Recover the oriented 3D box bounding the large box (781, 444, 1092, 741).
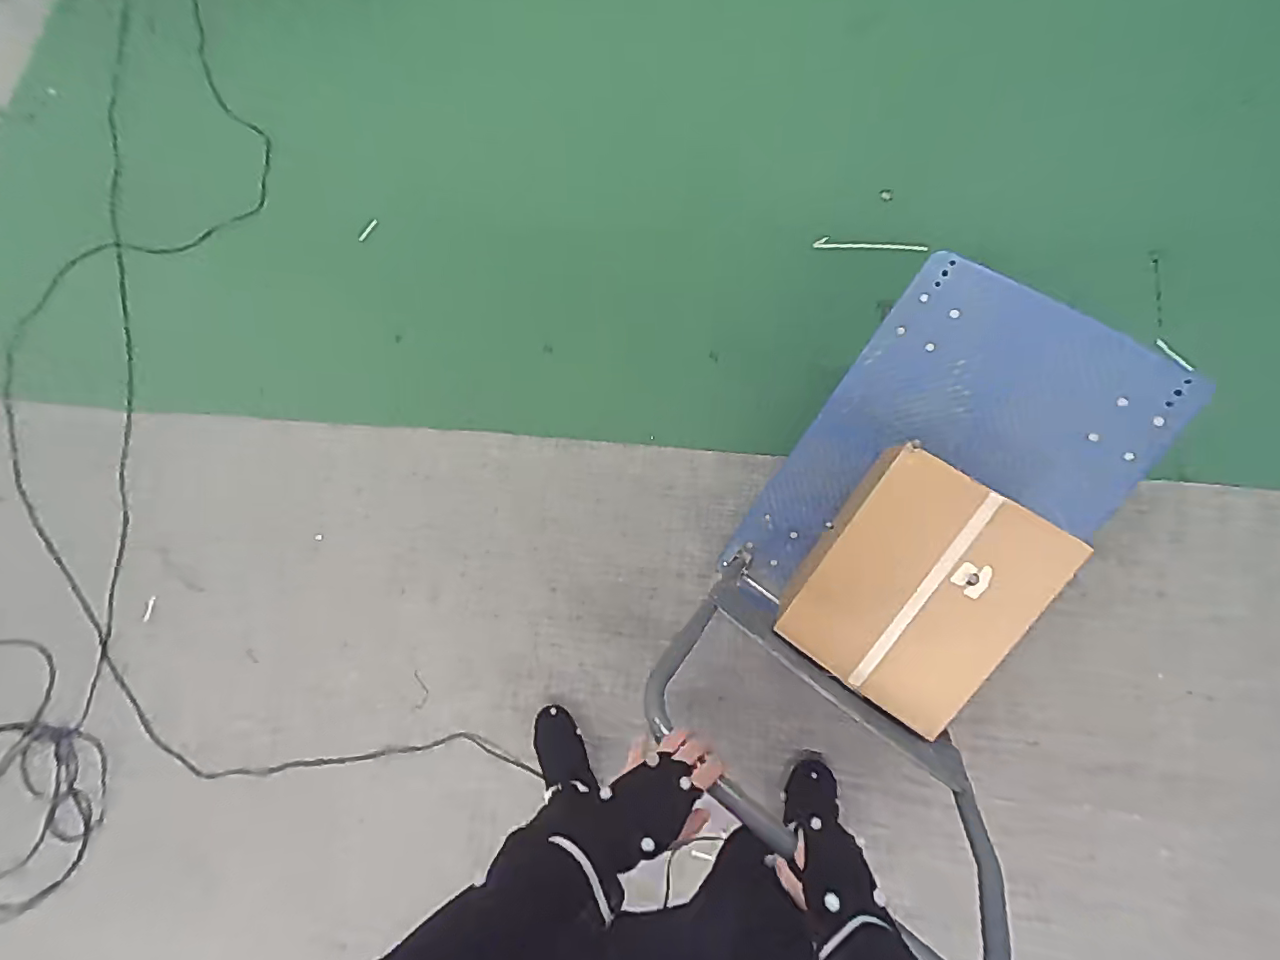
[{"bbox_3d":[0.517,0.188,1.039,0.320,0.320,0.408,35,101,14],"label":"large box"}]
